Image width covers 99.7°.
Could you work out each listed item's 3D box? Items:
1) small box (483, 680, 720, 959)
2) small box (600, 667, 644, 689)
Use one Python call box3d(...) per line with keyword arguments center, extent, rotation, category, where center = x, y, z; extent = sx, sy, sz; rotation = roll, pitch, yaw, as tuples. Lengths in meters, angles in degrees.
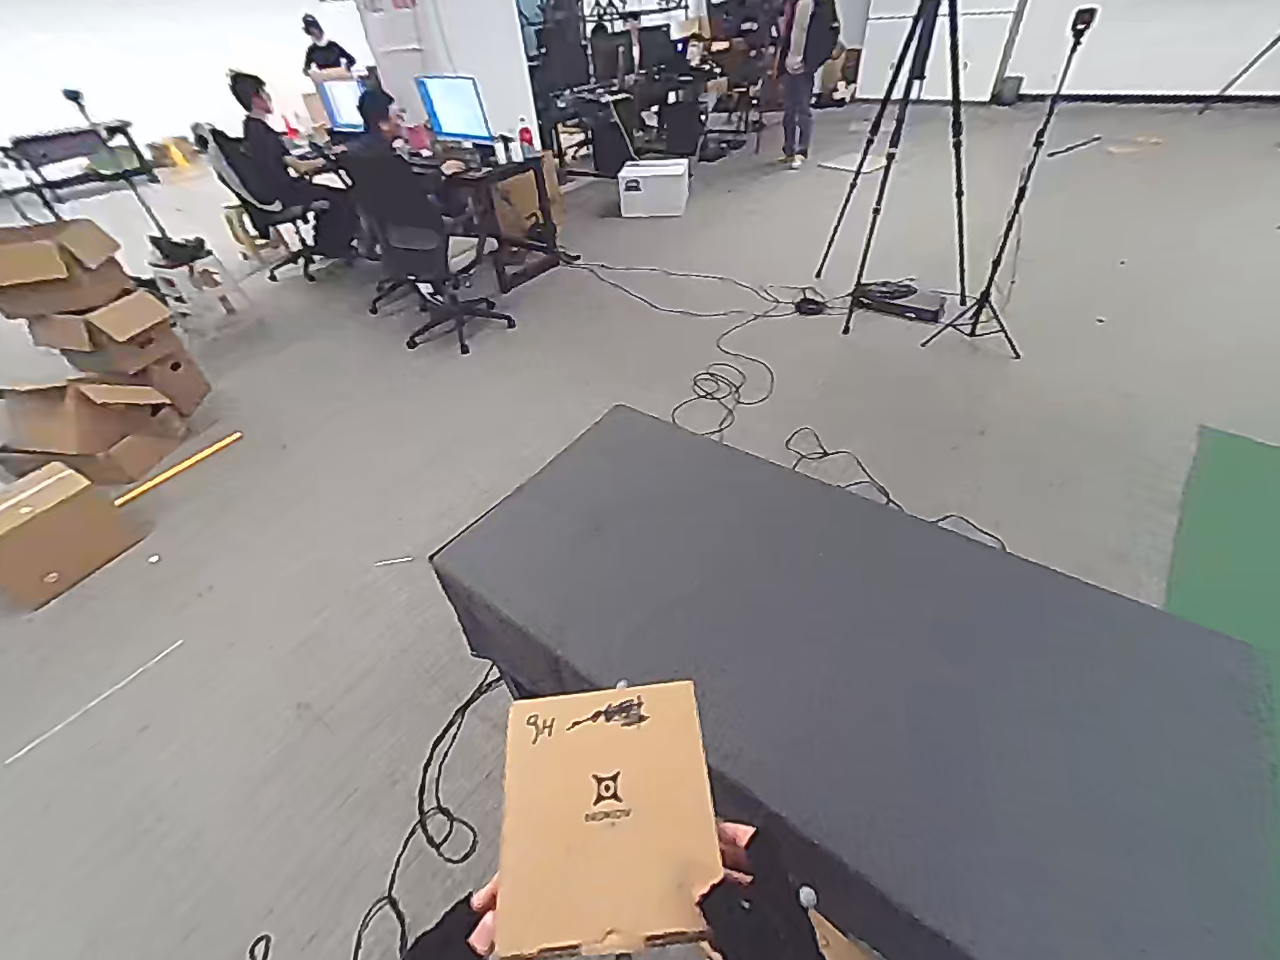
box3d(center=(-0.027, 0.299, 0.474), extent=(0.168, 0.176, 0.179), rotation=(-6, 49, -2), category="small box")
box3d(center=(-0.038, 0.637, 1.412), extent=(0.179, 0.176, 0.168), rotation=(-35, 48, -29), category="small box")
